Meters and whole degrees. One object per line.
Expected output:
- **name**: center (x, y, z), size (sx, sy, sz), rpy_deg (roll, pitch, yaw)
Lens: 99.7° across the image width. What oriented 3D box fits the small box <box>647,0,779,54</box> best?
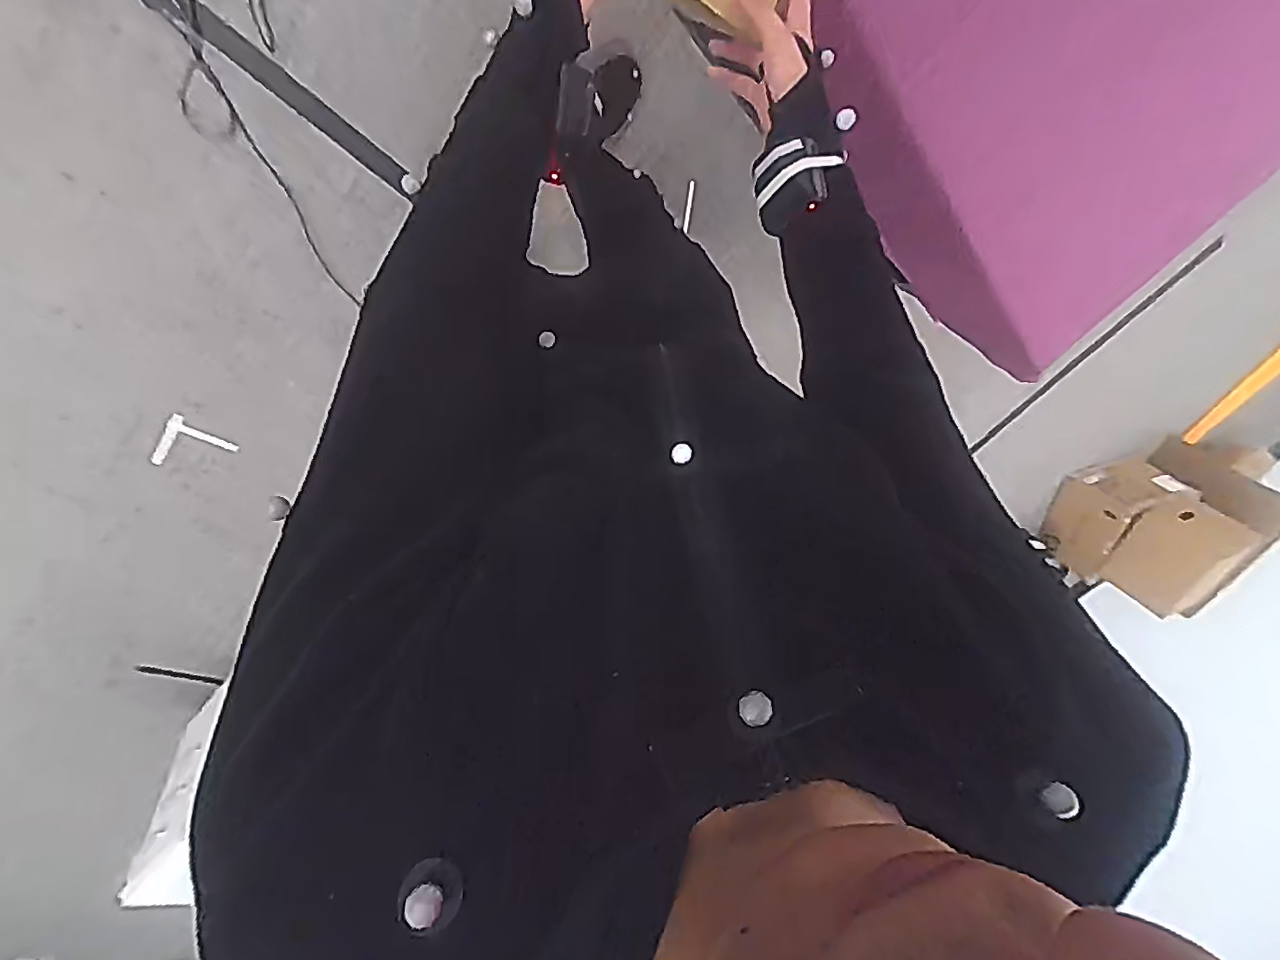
- **small box**: center (0.045, -0.523, 0.468), size (0.179, 0.176, 0.168), rpy_deg (10, 129, -33)
